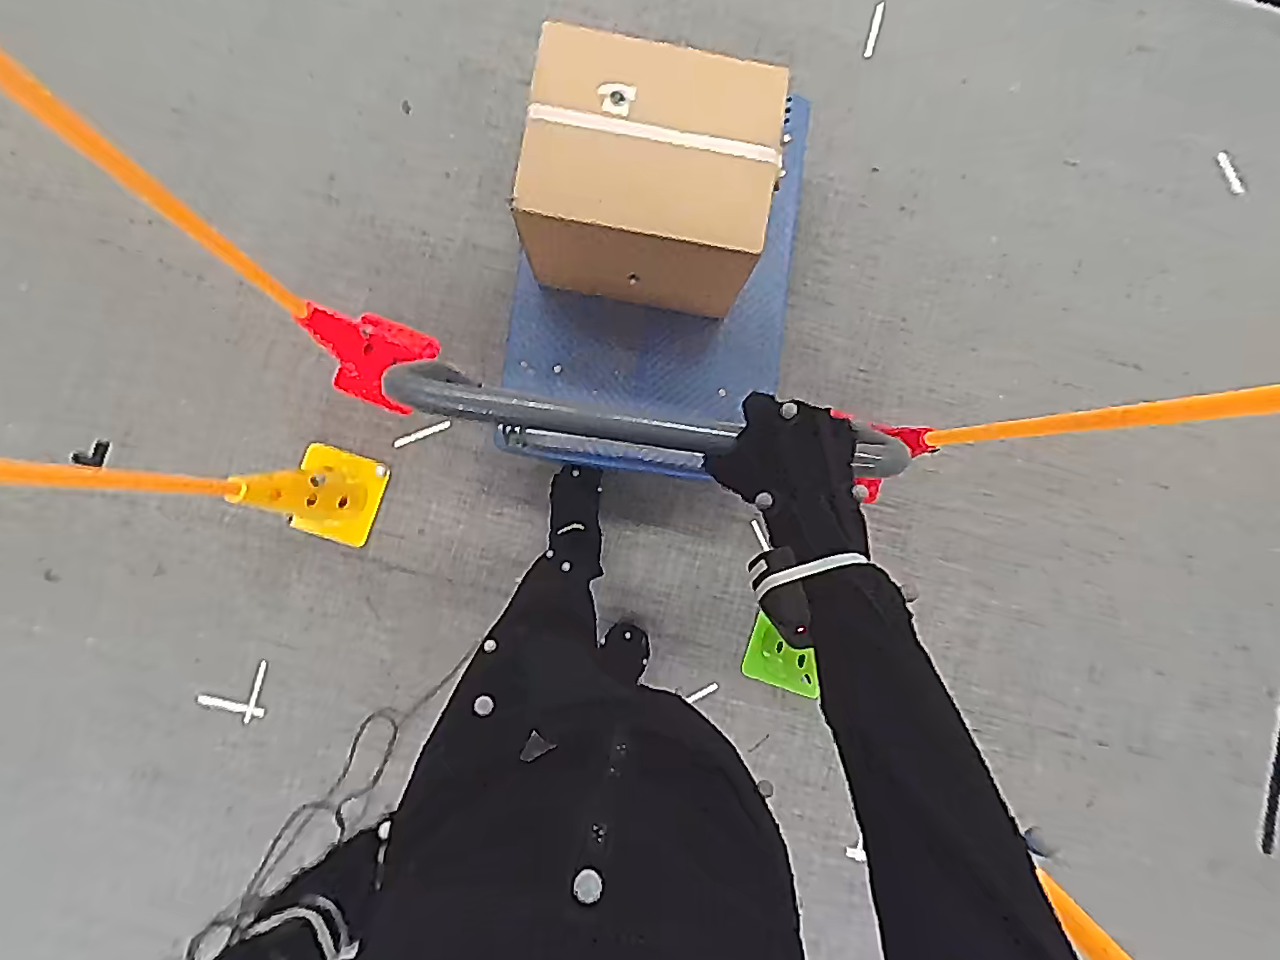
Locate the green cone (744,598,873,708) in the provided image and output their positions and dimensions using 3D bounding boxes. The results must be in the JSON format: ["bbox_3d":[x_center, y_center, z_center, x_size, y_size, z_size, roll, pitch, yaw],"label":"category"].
[{"bbox_3d":[0.375,0.394,1.125,0.202,0.368,0.200,19,86,-2],"label":"green cone"}]

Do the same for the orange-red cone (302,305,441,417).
[{"bbox_3d":[-0.591,-0.282,1.130,0.198,0.360,0.199,23,84,-2],"label":"orange-red cone"}]

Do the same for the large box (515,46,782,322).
[{"bbox_3d":[0.015,-0.521,1.023,0.408,0.320,0.320,10,87,-1],"label":"large box"}]

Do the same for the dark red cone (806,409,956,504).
[{"bbox_3d":[0.522,-0.068,1.142,0.201,0.394,0.202,15,86,-3],"label":"dark red cone"}]
